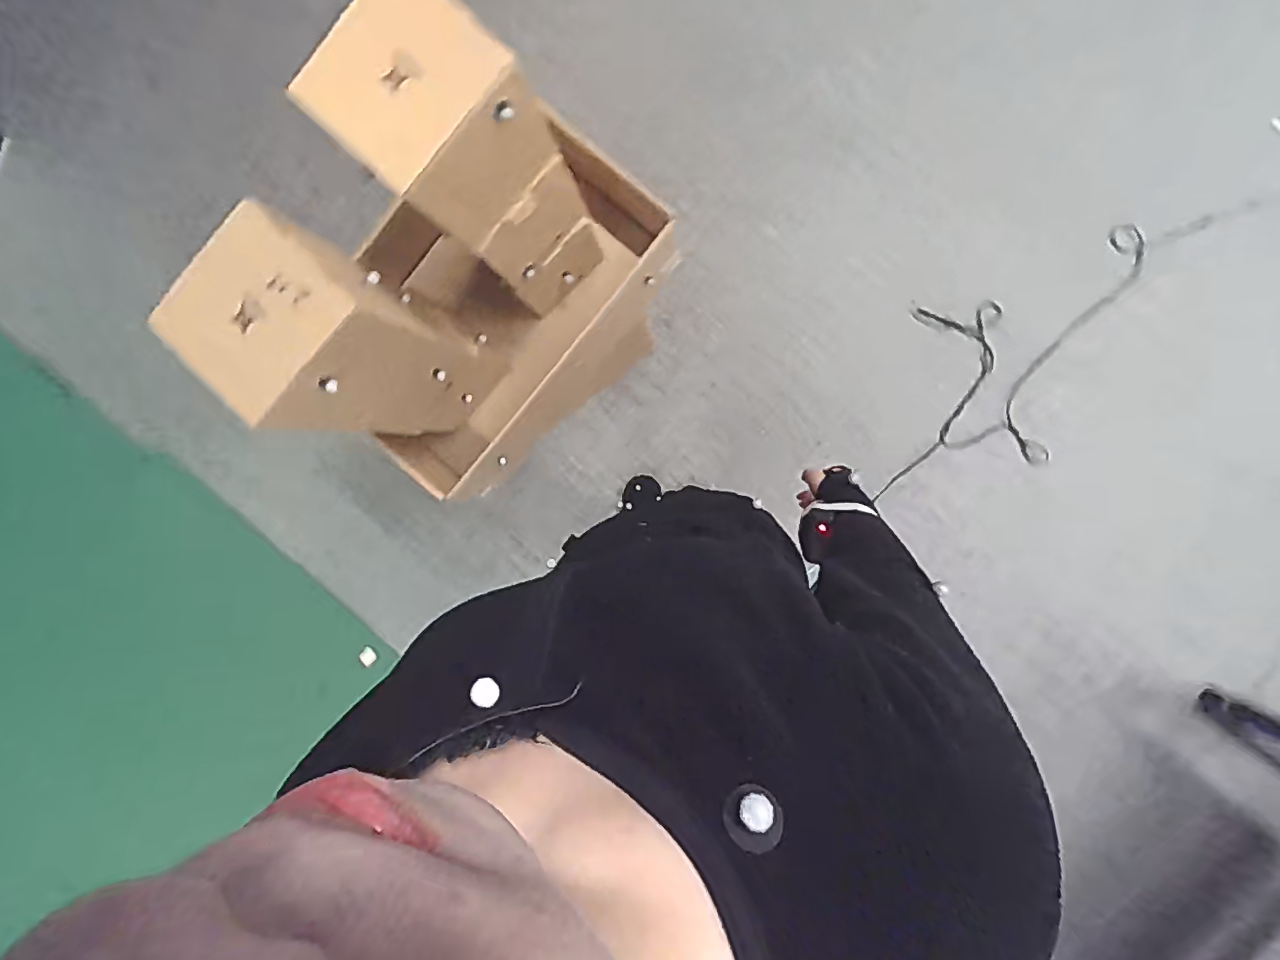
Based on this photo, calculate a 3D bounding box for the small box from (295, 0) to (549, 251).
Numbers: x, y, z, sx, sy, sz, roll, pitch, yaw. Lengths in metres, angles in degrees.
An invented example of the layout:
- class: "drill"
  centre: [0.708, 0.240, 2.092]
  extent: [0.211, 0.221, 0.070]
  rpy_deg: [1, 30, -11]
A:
- class: "small box"
  centre: [-0.230, -0.400, 0.617]
  extent: [0.168, 0.176, 0.179]
  rpy_deg: [42, 95, 2]

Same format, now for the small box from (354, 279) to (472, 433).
- class: "small box"
  centre: [-0.385, -0.185, 0.807]
  extent: [0.179, 0.176, 0.168]
  rpy_deg: [41, 95, 2]

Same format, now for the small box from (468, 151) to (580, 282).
- class: "small box"
  centre: [-0.211, -0.411, 0.779]
  extent: [0.179, 0.176, 0.168]
  rpy_deg: [43, 96, 2]

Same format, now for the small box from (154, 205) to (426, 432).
- class: "small box"
  centre: [-0.395, -0.171, 0.643]
  extent: [0.168, 0.176, 0.179]
  rpy_deg: [44, 95, 1]
